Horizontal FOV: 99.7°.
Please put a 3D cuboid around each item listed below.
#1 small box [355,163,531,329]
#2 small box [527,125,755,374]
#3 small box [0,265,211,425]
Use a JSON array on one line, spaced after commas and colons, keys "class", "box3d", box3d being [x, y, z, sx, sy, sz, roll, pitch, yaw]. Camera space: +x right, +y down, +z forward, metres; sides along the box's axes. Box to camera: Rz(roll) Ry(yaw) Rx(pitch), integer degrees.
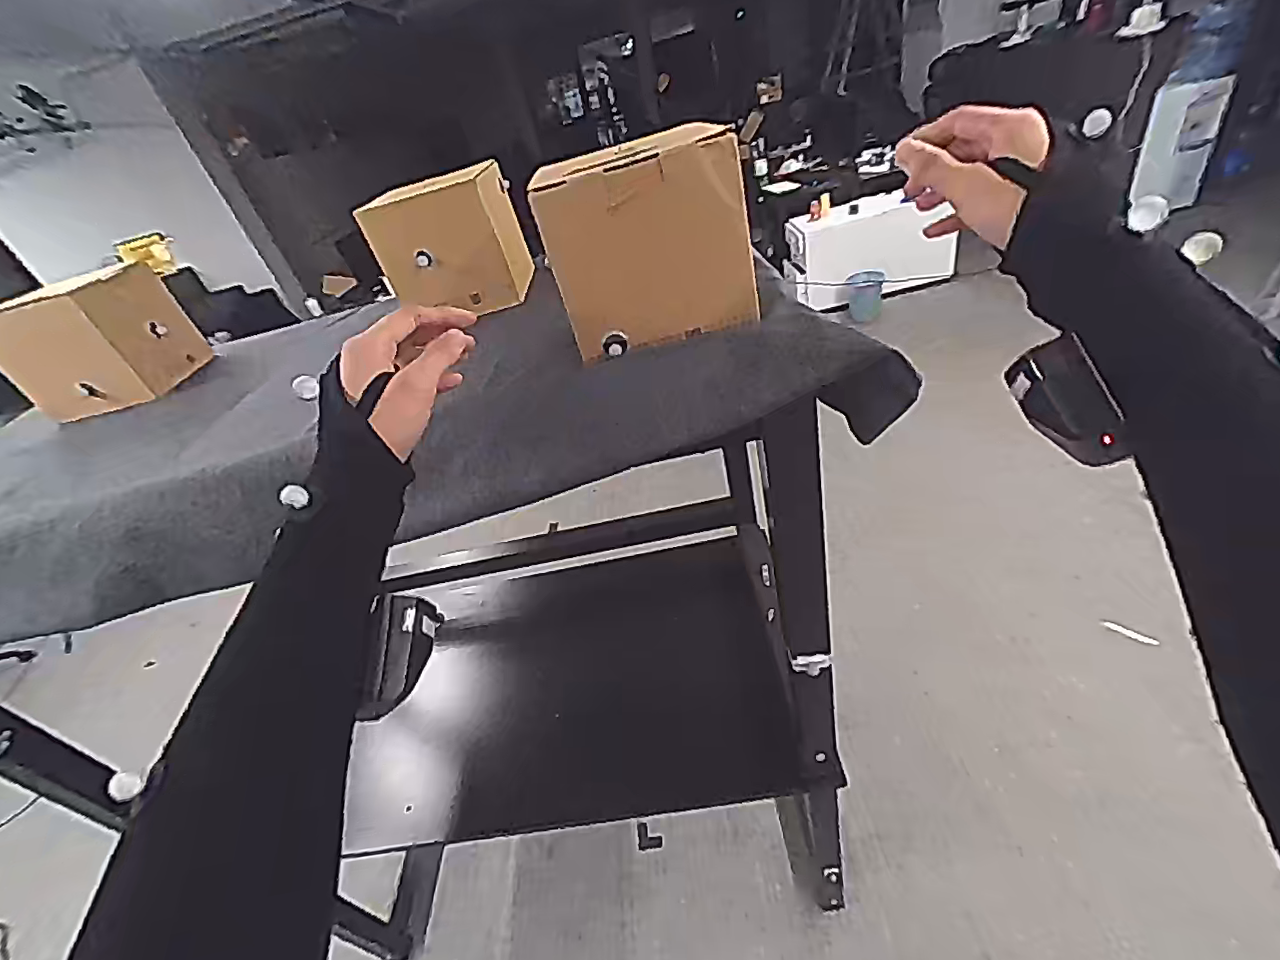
[{"class": "small box", "box3d": [-0.269, -0.336, 0.789, 0.168, 0.176, 0.179, -13, 36, 5]}, {"class": "small box", "box3d": [0.004, -0.217, 0.519, 0.168, 0.176, 0.179, -14, 35, 4]}, {"class": "small box", "box3d": [-0.829, -0.207, 0.836, 0.179, 0.176, 0.168, -13, 36, 4]}]
